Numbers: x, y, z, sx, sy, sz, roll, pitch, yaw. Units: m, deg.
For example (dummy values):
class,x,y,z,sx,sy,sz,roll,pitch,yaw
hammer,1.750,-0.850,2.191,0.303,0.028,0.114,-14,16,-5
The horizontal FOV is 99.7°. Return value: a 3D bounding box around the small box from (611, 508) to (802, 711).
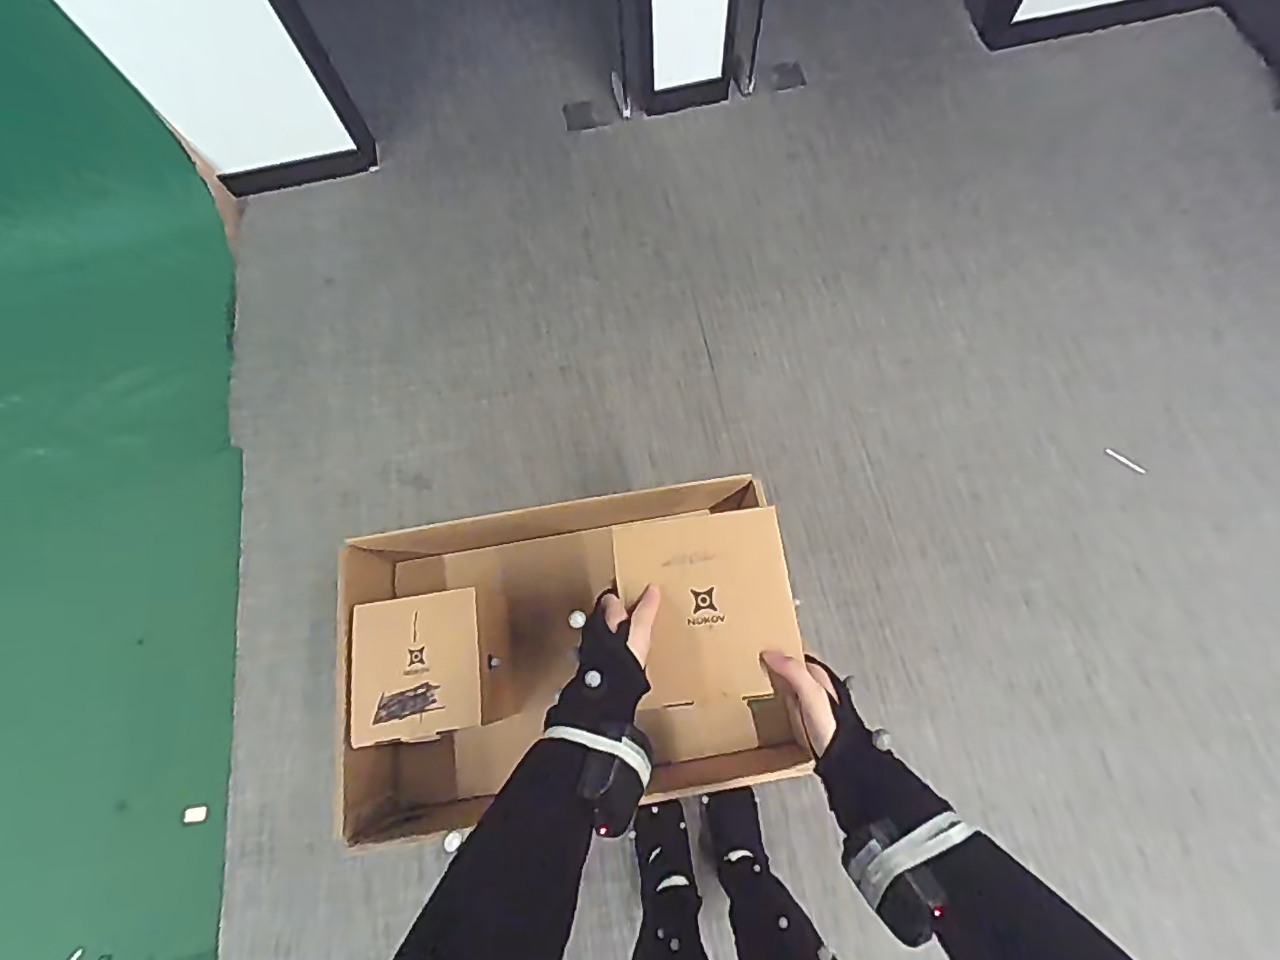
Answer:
class,x,y,z,sx,sy,sz,roll,pitch,yaw
small box,0.069,0.143,0.587,0.168,0.176,0.179,-8,70,5
